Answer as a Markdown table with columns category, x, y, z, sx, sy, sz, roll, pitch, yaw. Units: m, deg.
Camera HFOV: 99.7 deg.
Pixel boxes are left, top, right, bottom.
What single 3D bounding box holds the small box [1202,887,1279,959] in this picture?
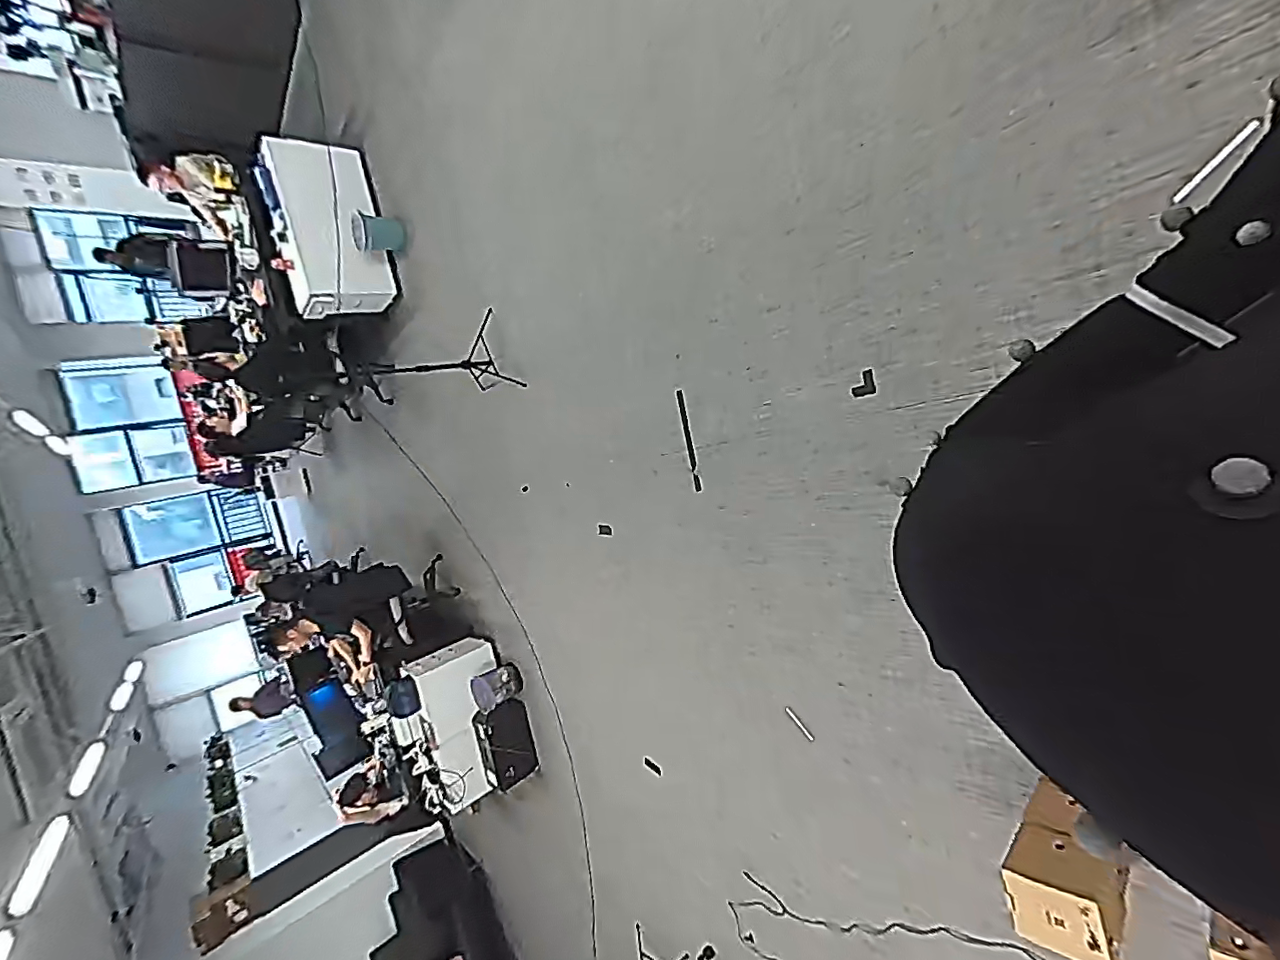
| category | x | y | z | sx | sy | sz | roll | pitch | yaw |
| --- | --- | --- | --- | --- | --- | --- | --- | --- | --- |
| small box | 1.157 | 0.895 | 0.978 | 0.179 | 0.176 | 0.168 | -10 | 96 | 50 |

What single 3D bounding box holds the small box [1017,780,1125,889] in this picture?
| category | x | y | z | sx | sy | sz | roll | pitch | yaw |
| --- | --- | --- | --- | --- | --- | --- | --- | --- | --- |
| small box | 1.065 | 0.888 | 1.333 | 0.168 | 0.176 | 0.179 | -10 | 95 | 50 |

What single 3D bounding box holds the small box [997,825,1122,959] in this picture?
| category | x | y | z | sx | sy | sz | roll | pitch | yaw |
| --- | --- | --- | --- | --- | --- | --- | --- | --- | --- |
| small box | 0.948 | 0.927 | 1.223 | 0.179 | 0.176 | 0.168 | -10 | 96 | 51 |
